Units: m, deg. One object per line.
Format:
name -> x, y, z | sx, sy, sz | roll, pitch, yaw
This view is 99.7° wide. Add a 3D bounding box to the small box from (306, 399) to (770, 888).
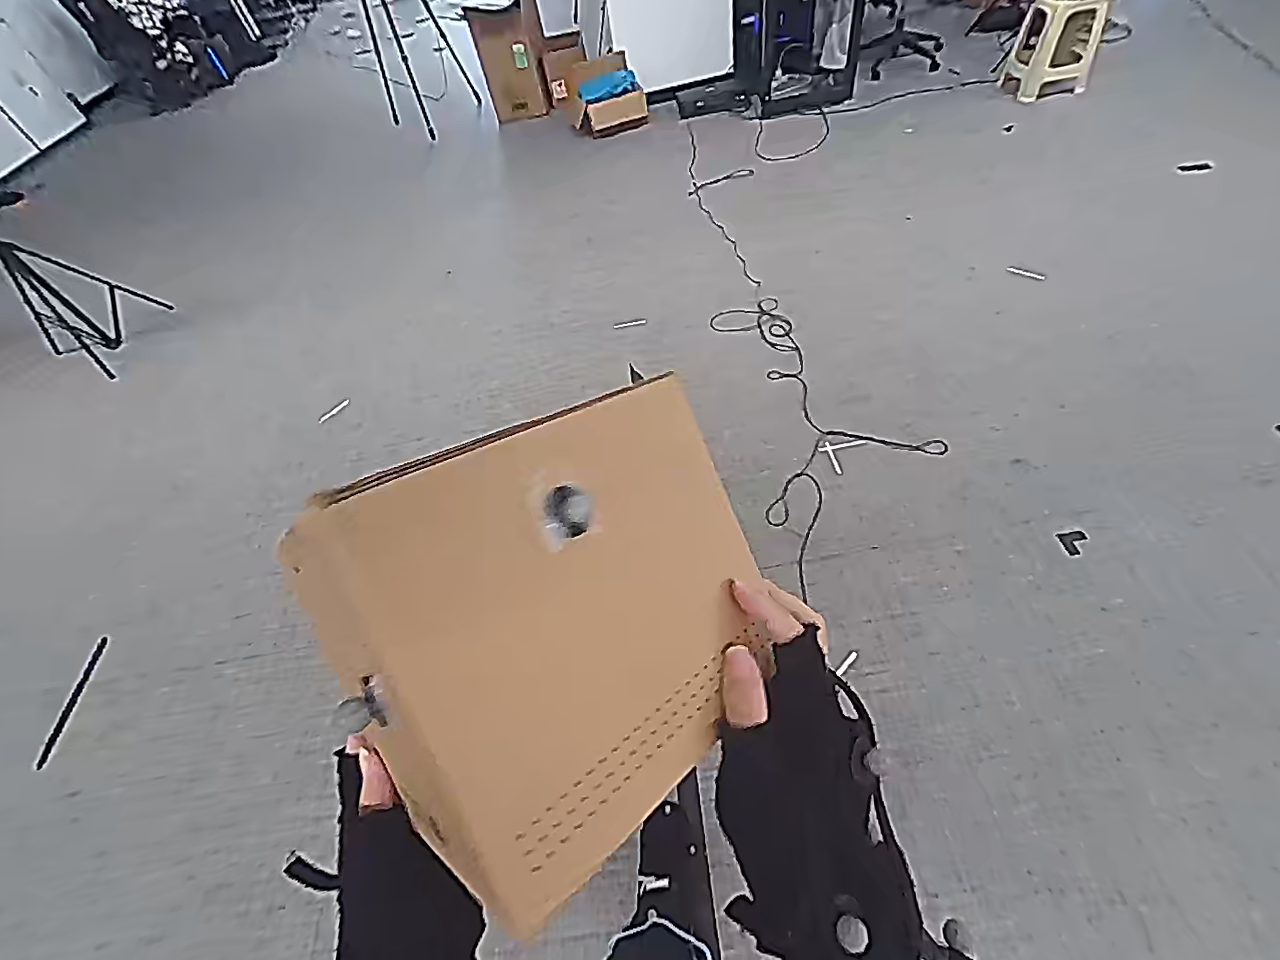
small box -> -0.053, 0.075, 0.310 | 0.179, 0.176, 0.168 | -25, 5, -41
